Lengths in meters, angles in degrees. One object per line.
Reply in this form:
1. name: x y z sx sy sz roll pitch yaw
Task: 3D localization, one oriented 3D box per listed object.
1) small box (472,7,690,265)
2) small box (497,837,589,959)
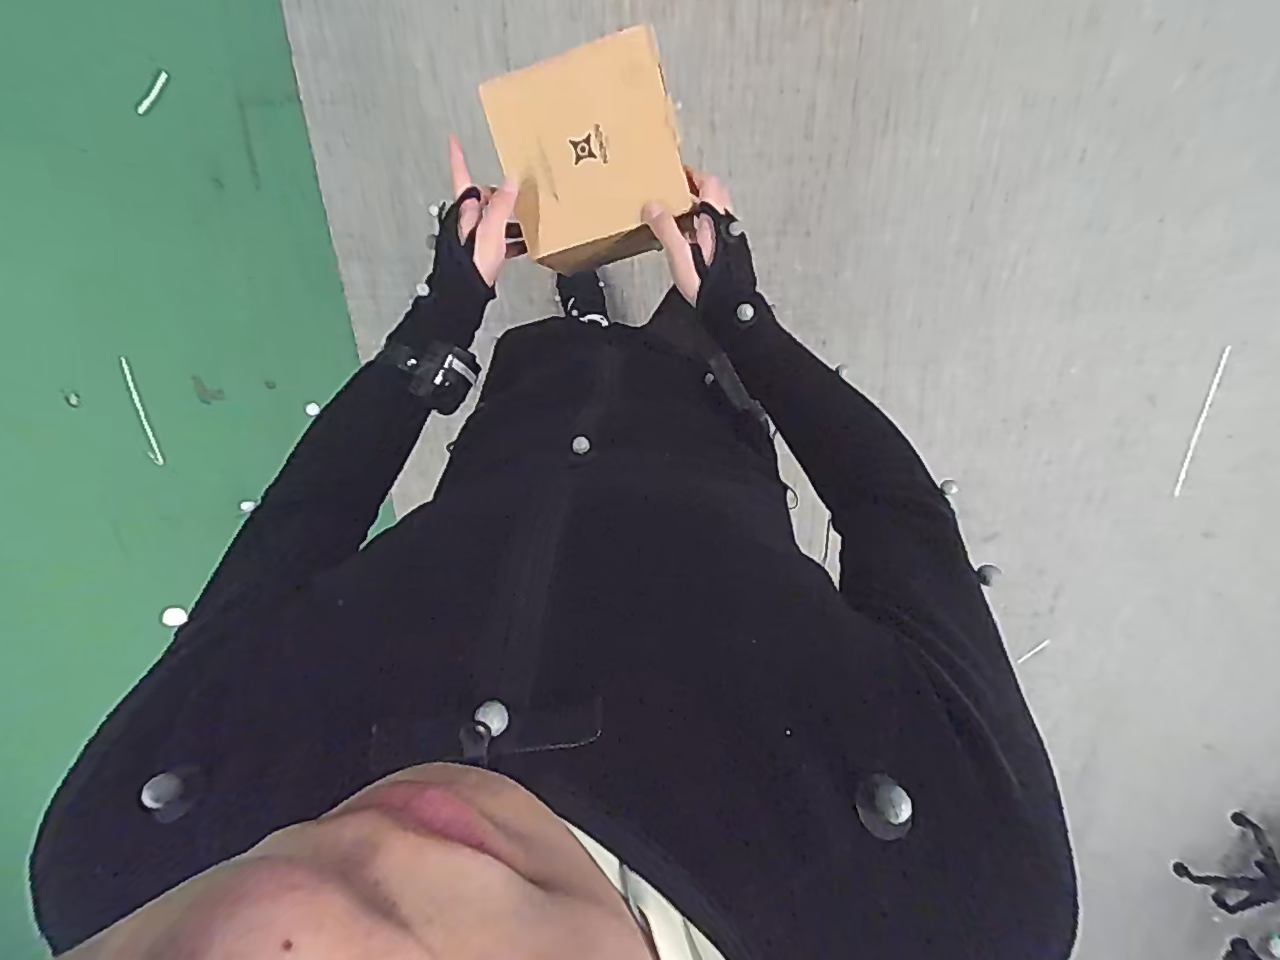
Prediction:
1. small box: -0.047 -0.343 0.582 0.179 0.176 0.168 -12 103 10
2. small box: -0.201 0.905 1.169 0.179 0.176 0.168 -2 113 -2
